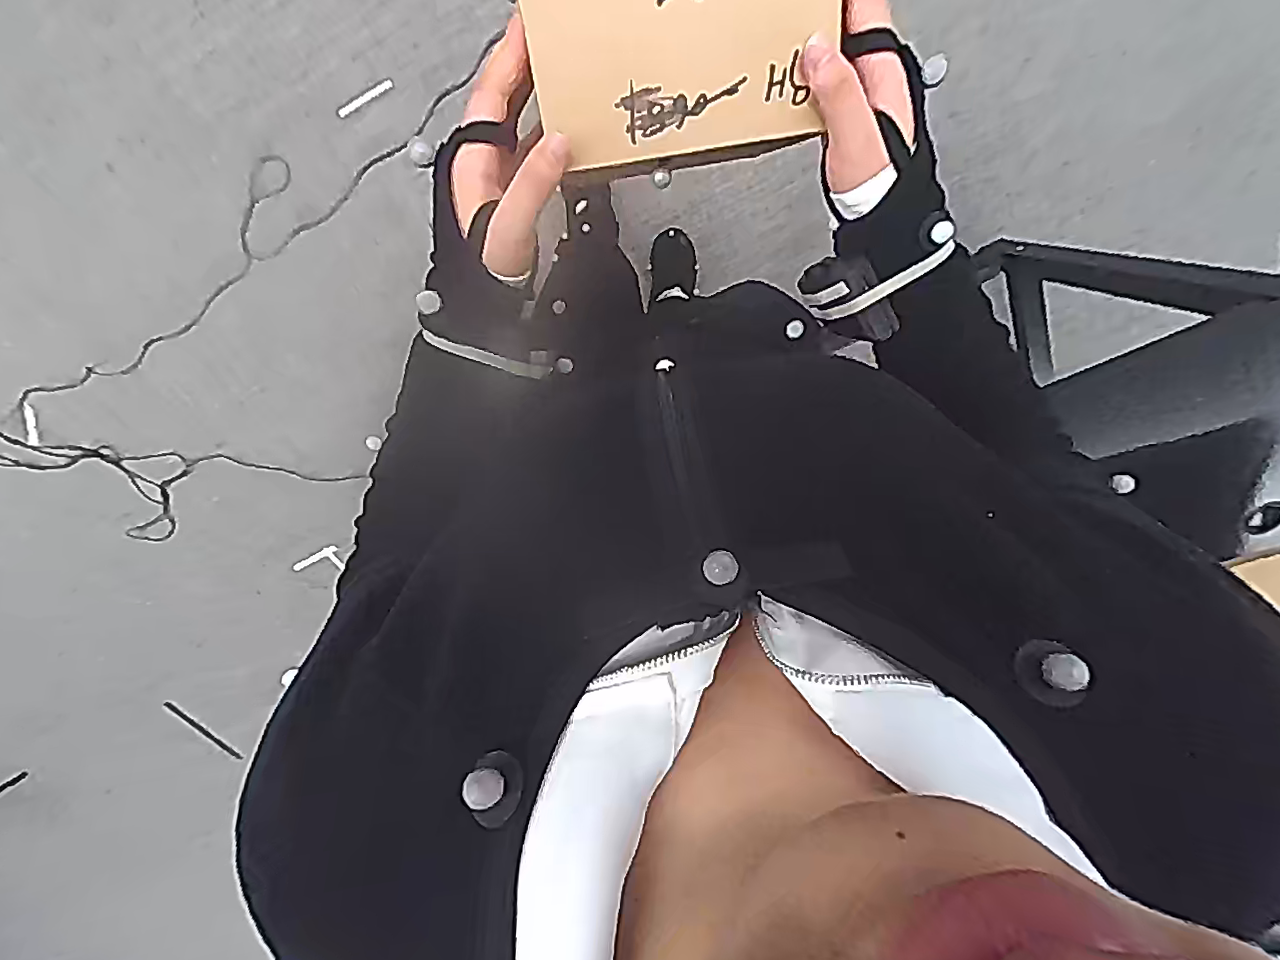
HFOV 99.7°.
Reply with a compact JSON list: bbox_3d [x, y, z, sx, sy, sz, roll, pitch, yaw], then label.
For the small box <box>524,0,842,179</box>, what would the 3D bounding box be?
[{"bbox_3d":[0.015,-0.303,0.338,0.168,0.176,0.179,-8,116,2],"label":"small box"}]
